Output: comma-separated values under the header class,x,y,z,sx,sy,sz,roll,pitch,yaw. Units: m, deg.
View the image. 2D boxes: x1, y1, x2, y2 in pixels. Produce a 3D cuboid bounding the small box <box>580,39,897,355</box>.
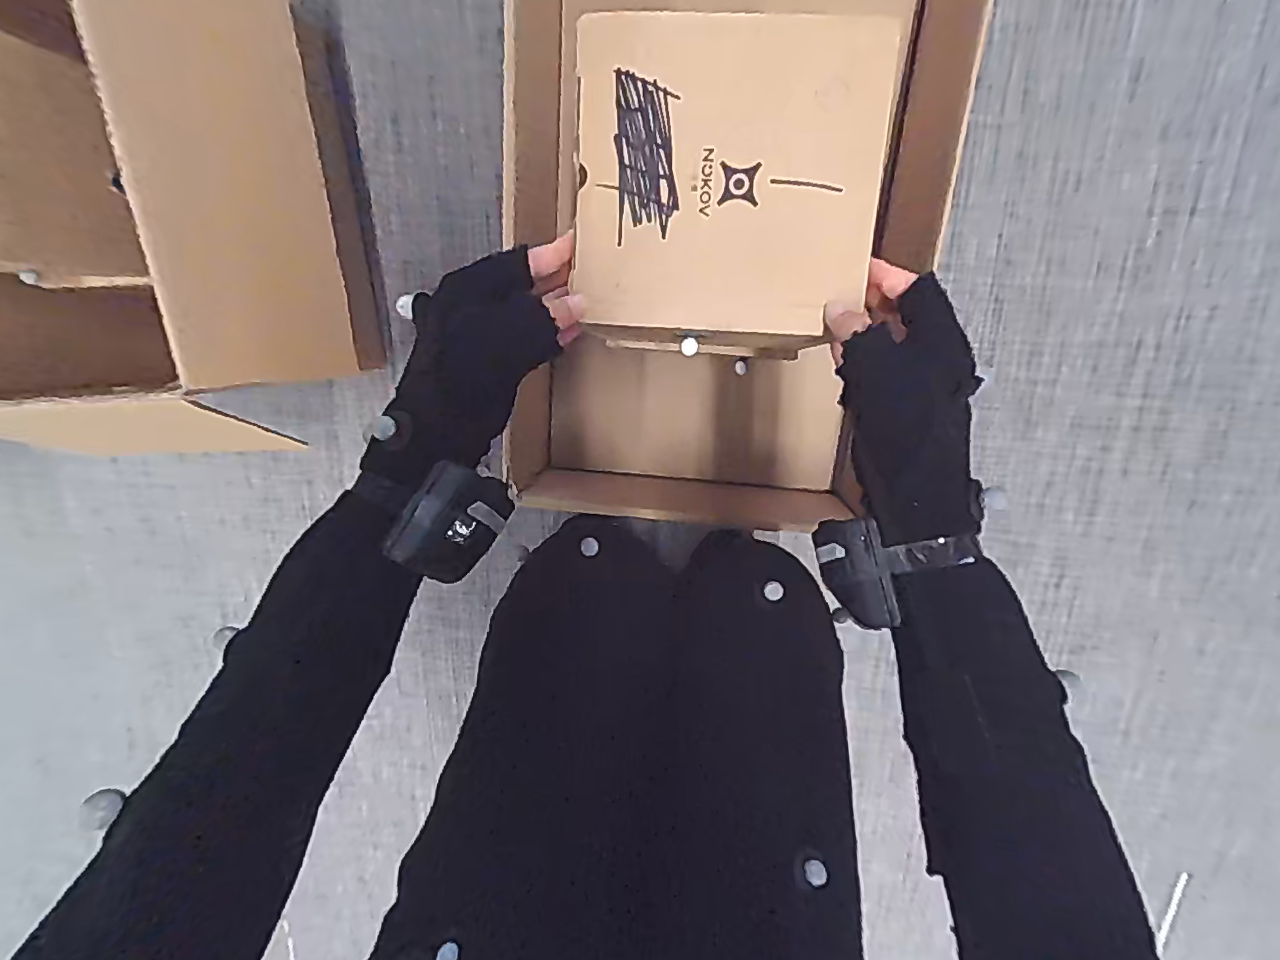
class,x,y,z,sx,sy,sz,roll,pitch,yaw
small box,0.059,-0.184,0.403,0.179,0.176,0.168,4,102,2
